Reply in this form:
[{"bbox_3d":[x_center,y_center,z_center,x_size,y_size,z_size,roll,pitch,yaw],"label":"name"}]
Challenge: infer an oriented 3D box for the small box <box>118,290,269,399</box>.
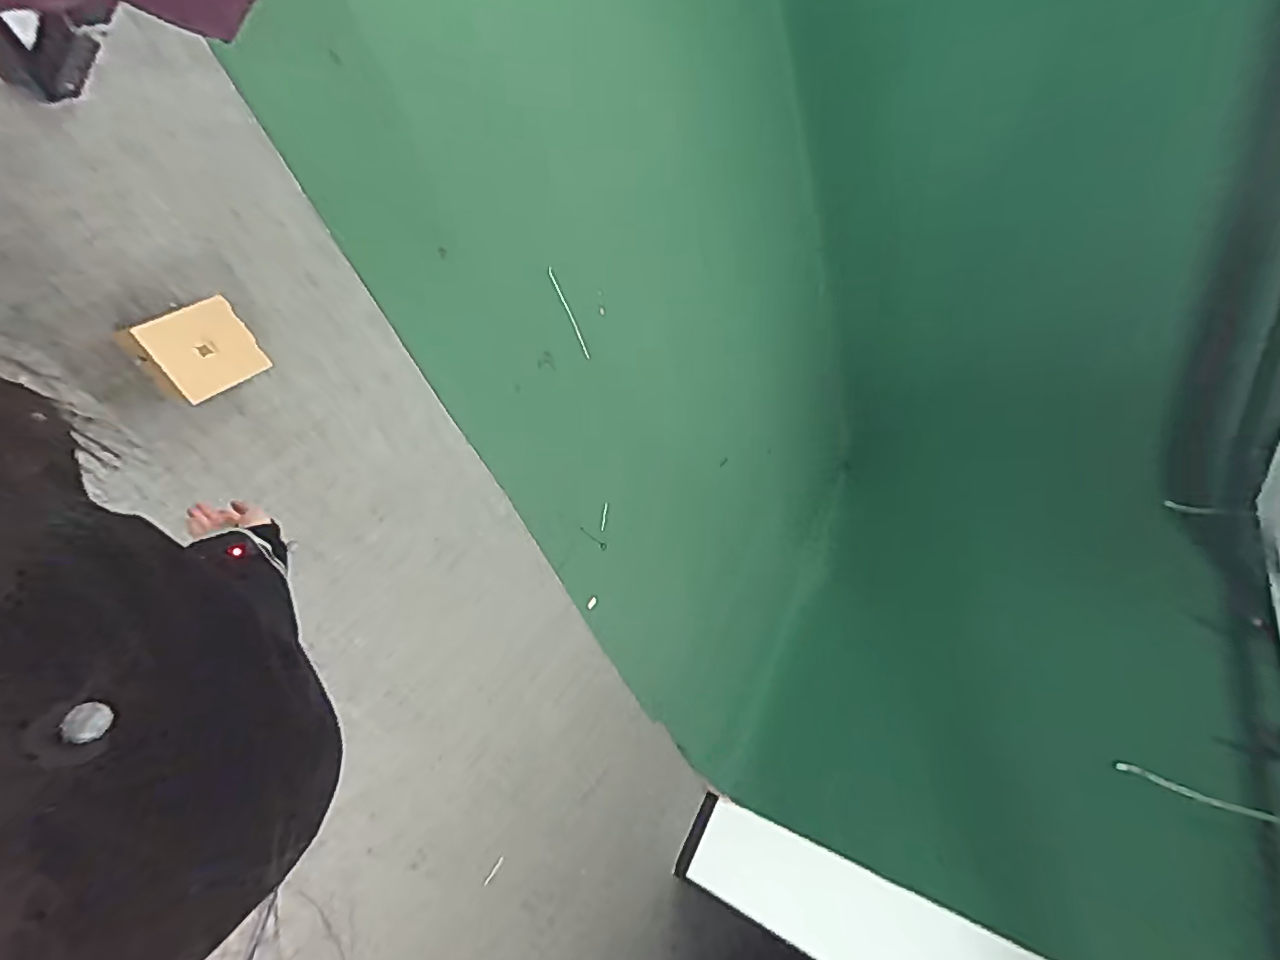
[{"bbox_3d":[-0.948,-0.282,1.145,0.179,0.176,0.168,-50,132,-37],"label":"small box"}]
